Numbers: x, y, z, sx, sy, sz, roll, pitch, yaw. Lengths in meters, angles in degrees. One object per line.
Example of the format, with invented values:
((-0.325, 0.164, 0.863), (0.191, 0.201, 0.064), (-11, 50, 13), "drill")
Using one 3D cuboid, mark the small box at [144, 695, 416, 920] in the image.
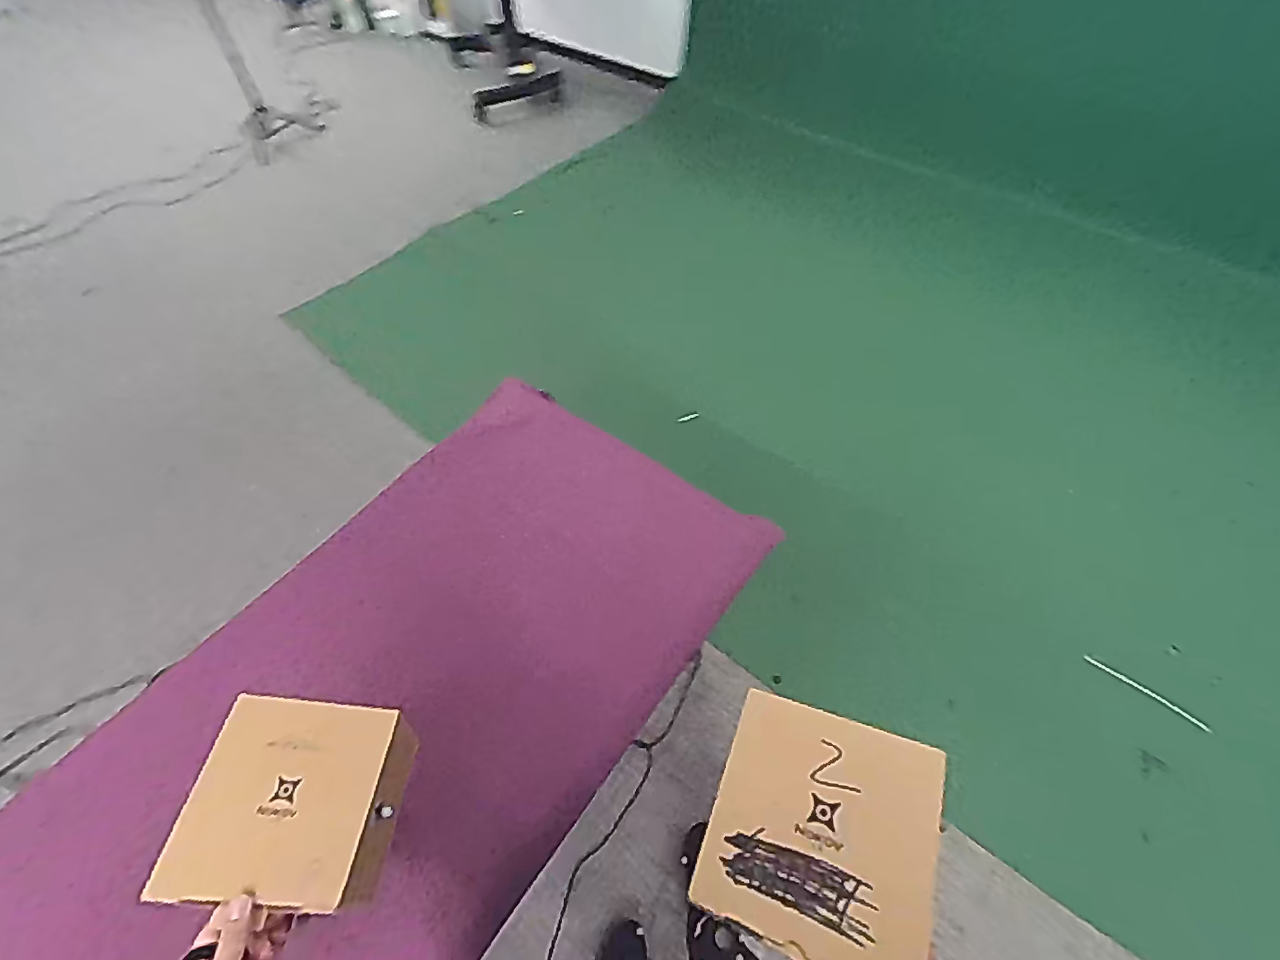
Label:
((-0.358, 0.356, 0.587), (0.168, 0.176, 0.179), (10, 51, -6), "small box")
